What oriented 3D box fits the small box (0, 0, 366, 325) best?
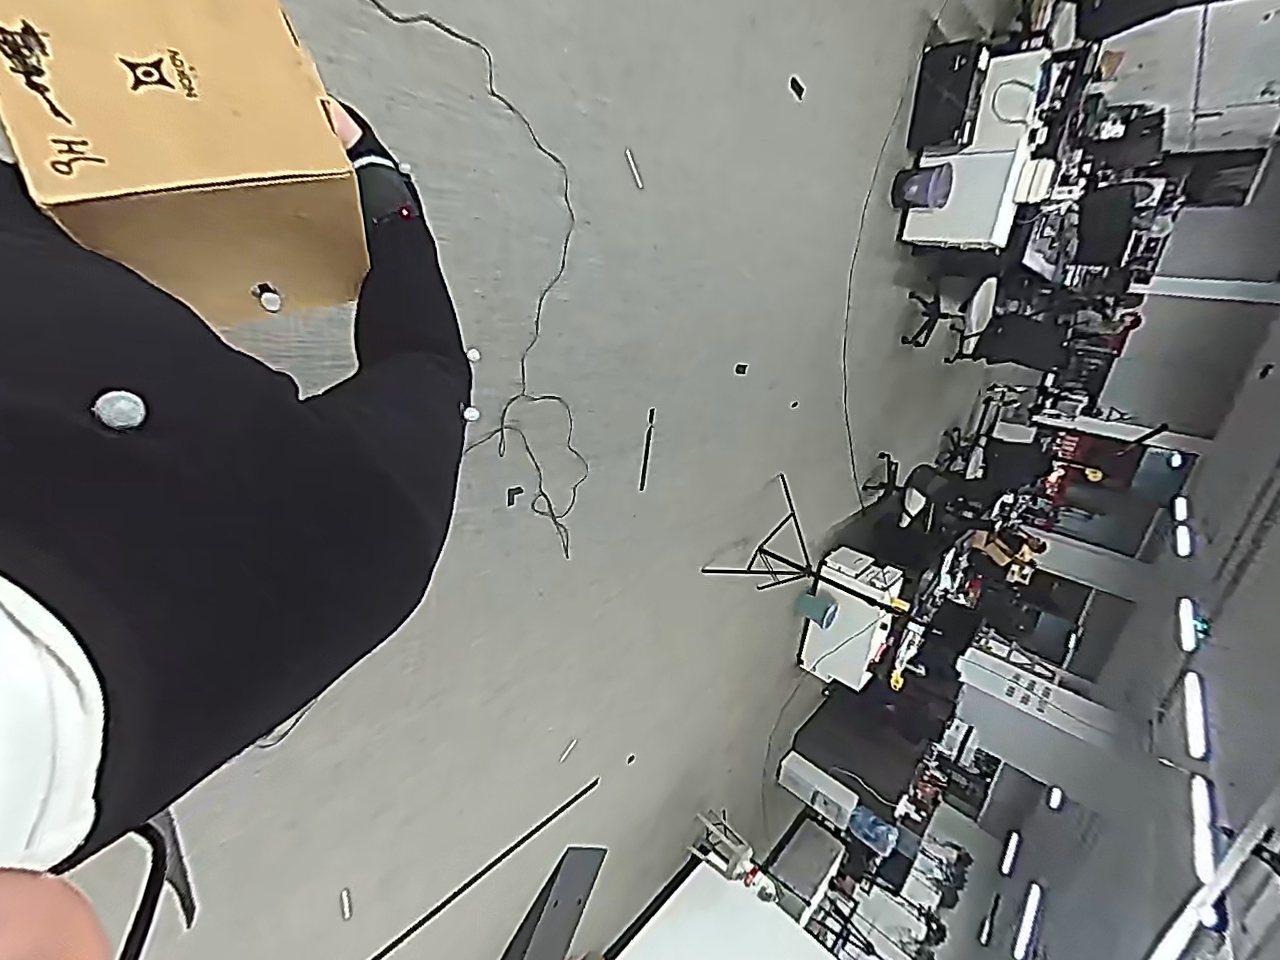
[{"bbox_3d":[-0.340,-0.251,0.441,0.179,0.176,0.168,-22,86,-25],"label":"small box"}]
